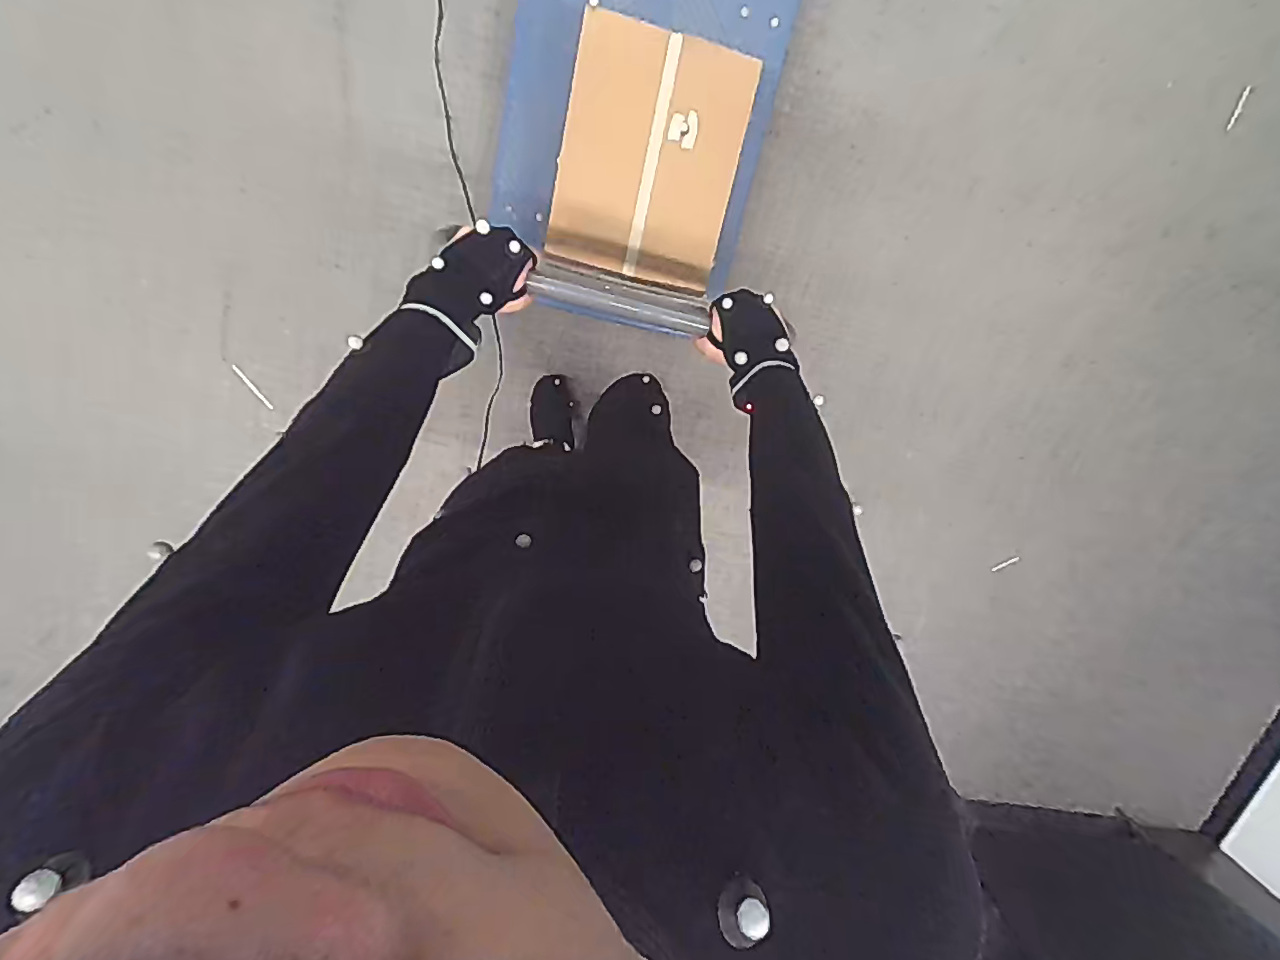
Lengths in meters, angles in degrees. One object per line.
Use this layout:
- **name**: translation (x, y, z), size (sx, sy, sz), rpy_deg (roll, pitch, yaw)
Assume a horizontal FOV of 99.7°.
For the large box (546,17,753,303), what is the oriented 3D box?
- **large box**: translation (-0.002, -0.603, 1.116), size (0.320, 0.320, 0.408), rpy_deg (10, 105, -10)
